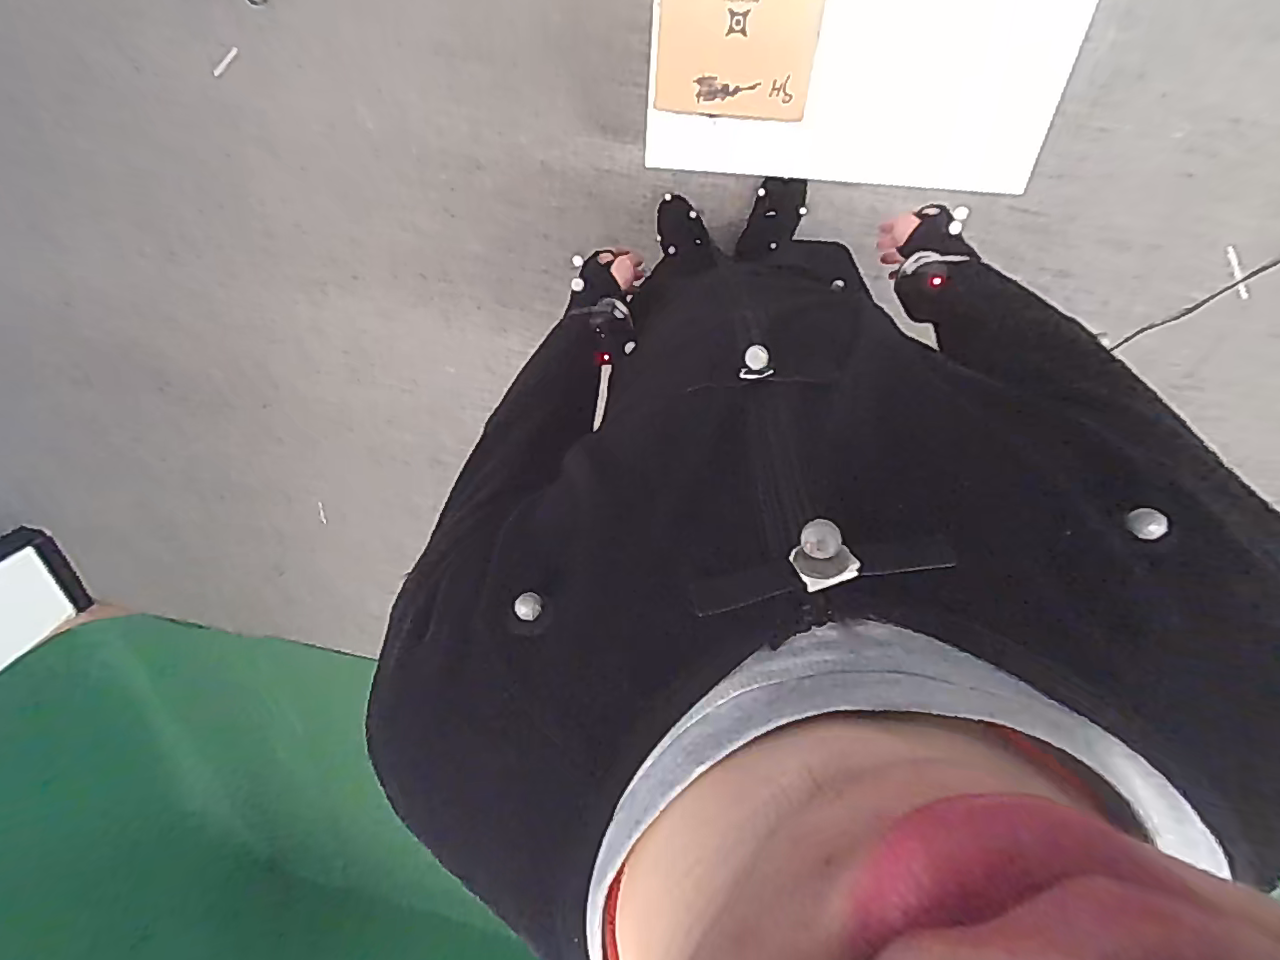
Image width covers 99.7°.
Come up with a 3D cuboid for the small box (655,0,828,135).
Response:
[{"bbox_3d":[0.113,-0.504,0.614,0.168,0.176,0.179,7,122,6],"label":"small box"}]
